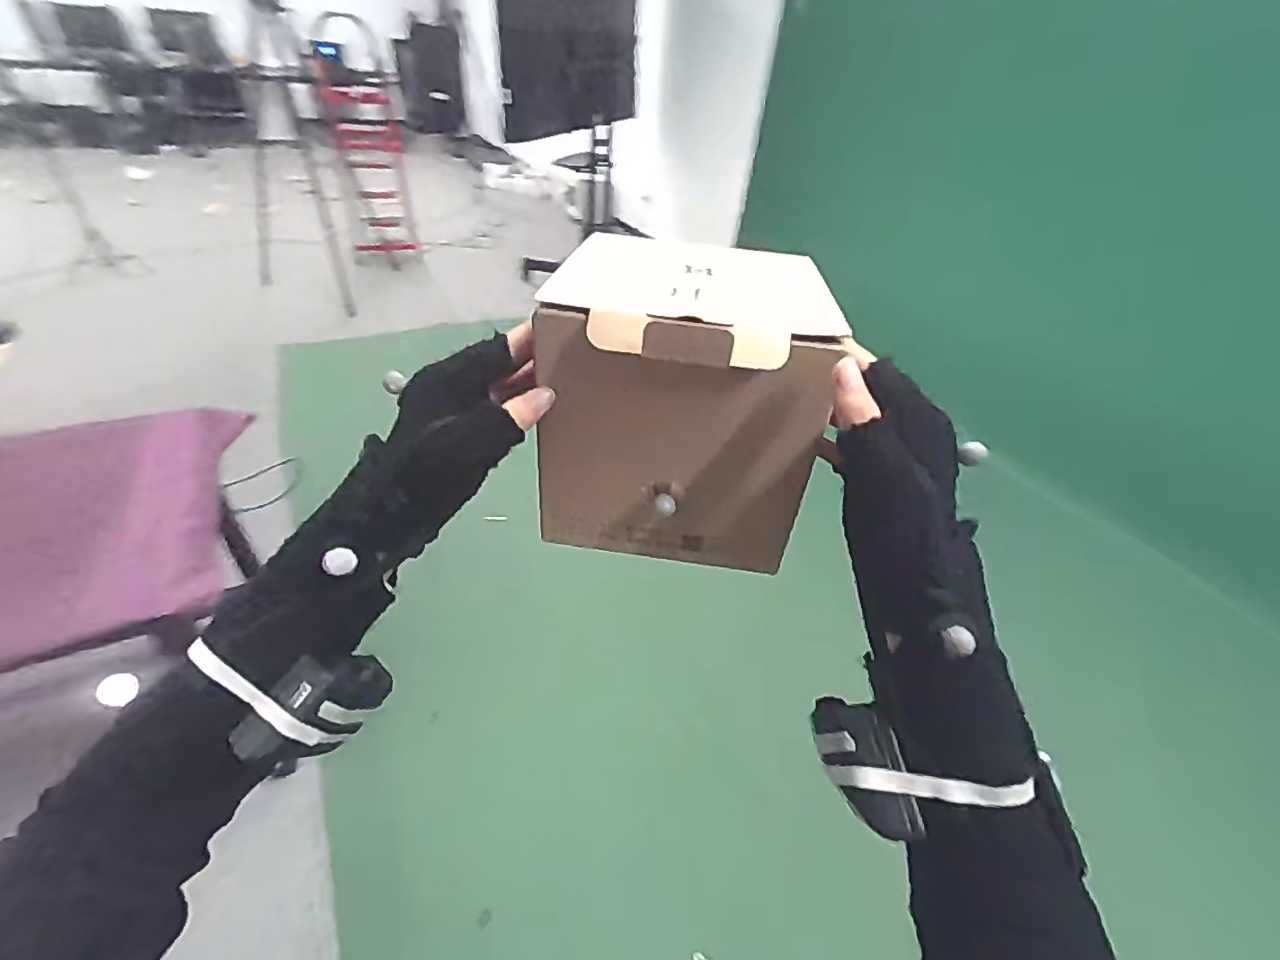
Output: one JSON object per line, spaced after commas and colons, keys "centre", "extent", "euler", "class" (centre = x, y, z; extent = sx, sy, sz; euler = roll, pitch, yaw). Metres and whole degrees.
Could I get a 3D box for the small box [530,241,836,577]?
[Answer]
{"centre": [0.025, -0.057, 0.395], "extent": [0.168, 0.176, 0.179], "euler": [7, 38, 3], "class": "small box"}
